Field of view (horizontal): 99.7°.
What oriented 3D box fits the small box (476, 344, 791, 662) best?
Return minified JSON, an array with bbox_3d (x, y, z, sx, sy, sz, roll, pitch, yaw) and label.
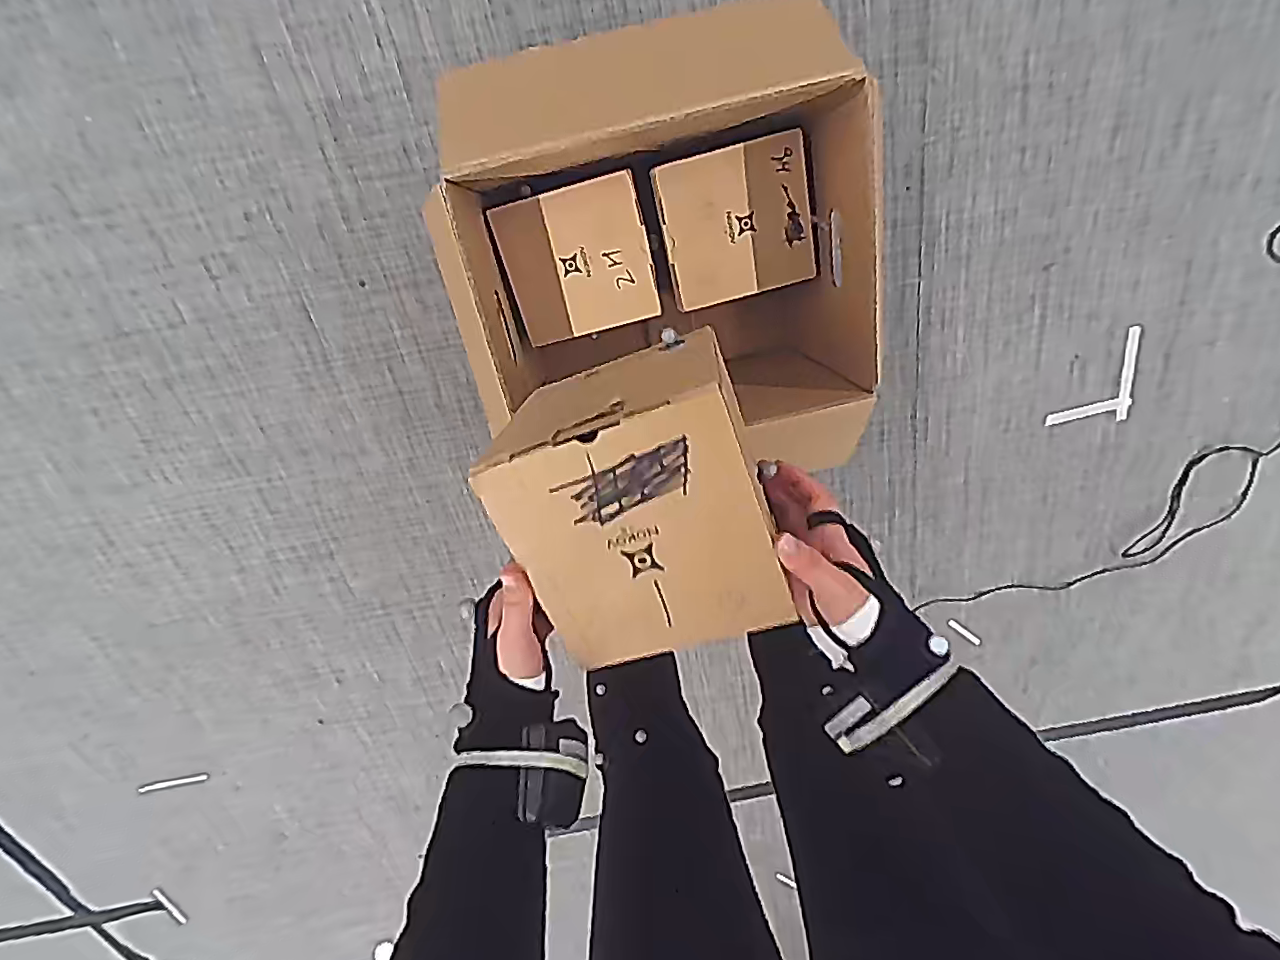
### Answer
[{"bbox_3d":[0.005,0.006,0.429,0.168,0.176,0.179,-18,114,14],"label":"small box"}]
